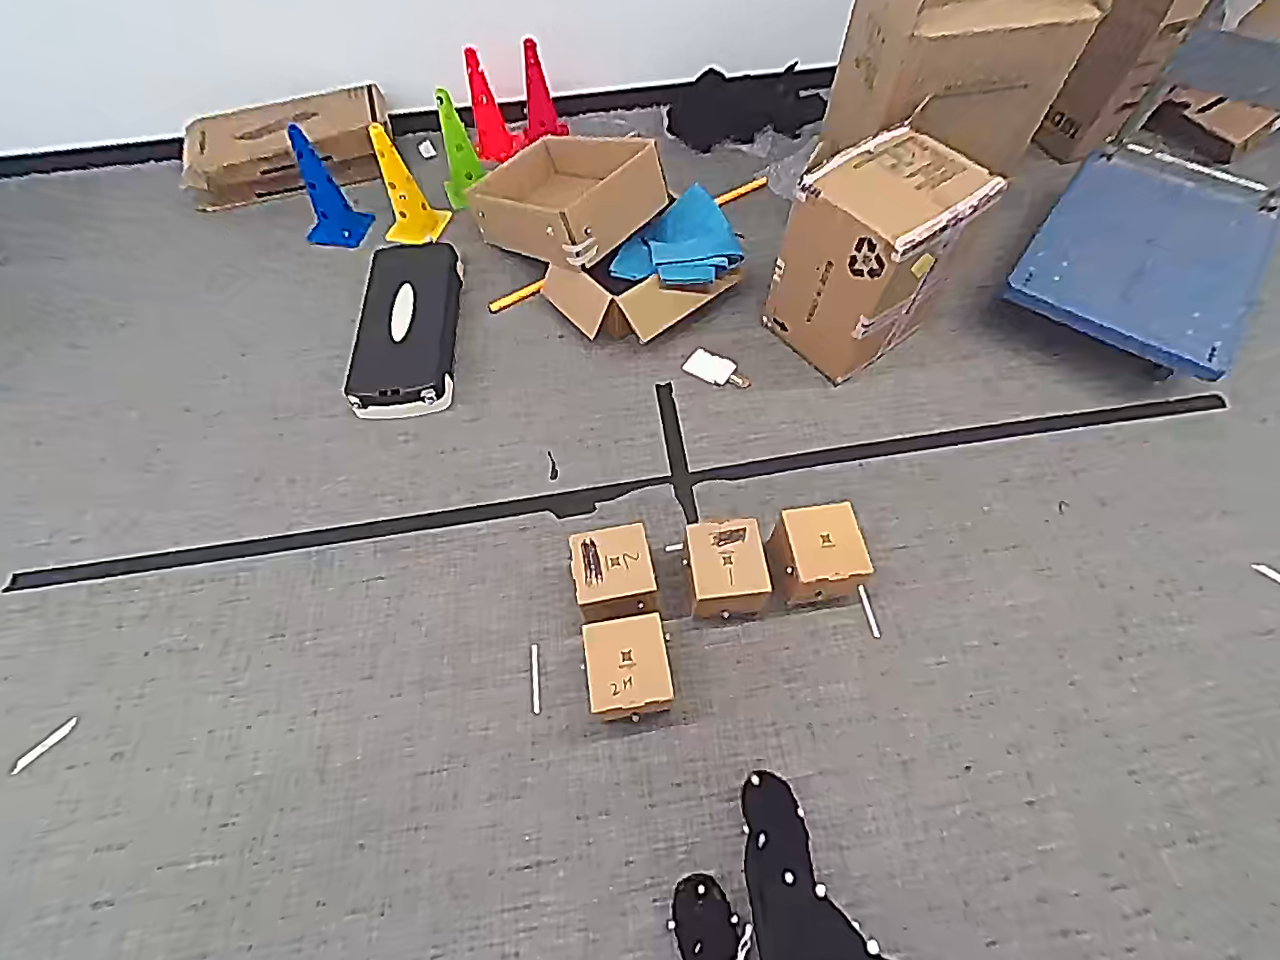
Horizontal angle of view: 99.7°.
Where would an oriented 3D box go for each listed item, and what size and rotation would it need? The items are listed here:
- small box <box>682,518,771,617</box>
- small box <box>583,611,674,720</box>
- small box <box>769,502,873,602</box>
[{"bbox_3d":[0.192,0.207,1.261,0.168,0.176,0.179,-6,62,-2],"label":"small box"},{"bbox_3d":[-0.025,0.400,1.157,0.168,0.176,0.179,-9,61,-3],"label":"small box"},{"bbox_3d":[0.416,0.173,1.278,0.168,0.176,0.179,-7,61,-3],"label":"small box"}]
